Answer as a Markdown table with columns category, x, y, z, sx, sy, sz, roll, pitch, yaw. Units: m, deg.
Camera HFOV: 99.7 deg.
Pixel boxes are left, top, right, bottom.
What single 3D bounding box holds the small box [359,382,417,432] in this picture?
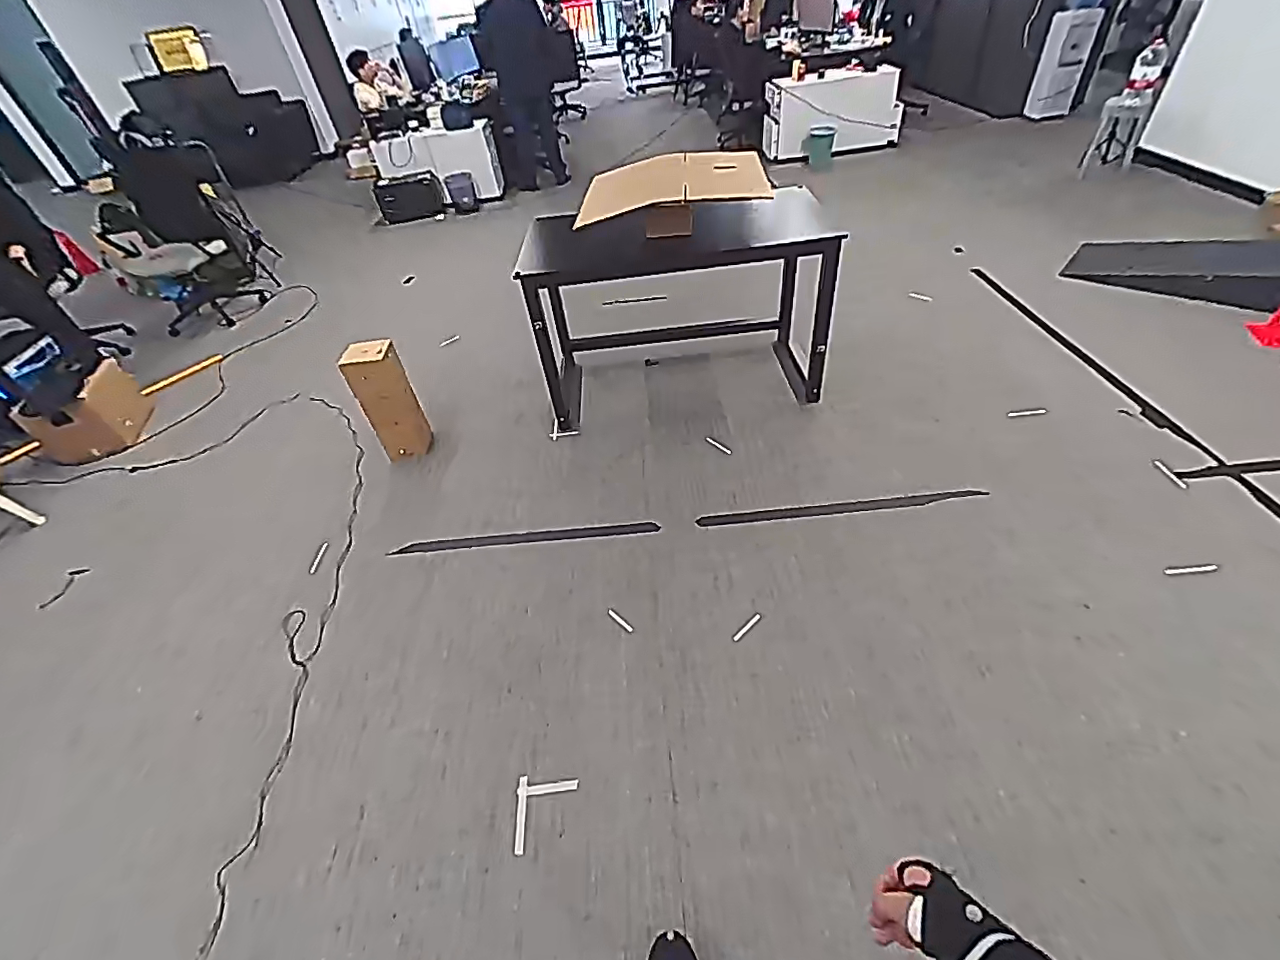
| category | x | y | z | sx | sy | sz | roll | pitch | yaw |
| --- | --- | --- | --- | --- | --- | --- | --- | --- | --- |
| small box | -1.087 | -0.321 | 2.345 | 0.168 | 0.176 | 0.179 | -10 | 42 | -4 |

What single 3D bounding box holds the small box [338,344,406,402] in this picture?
| category | x | y | z | sx | sy | sz | roll | pitch | yaw |
| --- | --- | --- | --- | --- | --- | --- | --- | --- | --- |
| small box | -1.099 | -0.438 | 2.231 | 0.179 | 0.176 | 0.168 | -9 | 43 | -1 |

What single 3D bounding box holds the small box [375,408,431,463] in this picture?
| category | x | y | z | sx | sy | sz | roll | pitch | yaw |
| --- | --- | --- | --- | --- | --- | --- | --- | --- | --- |
| small box | -1.066 | -0.200 | 2.452 | 0.168 | 0.176 | 0.179 | -9 | 44 | 0 |
